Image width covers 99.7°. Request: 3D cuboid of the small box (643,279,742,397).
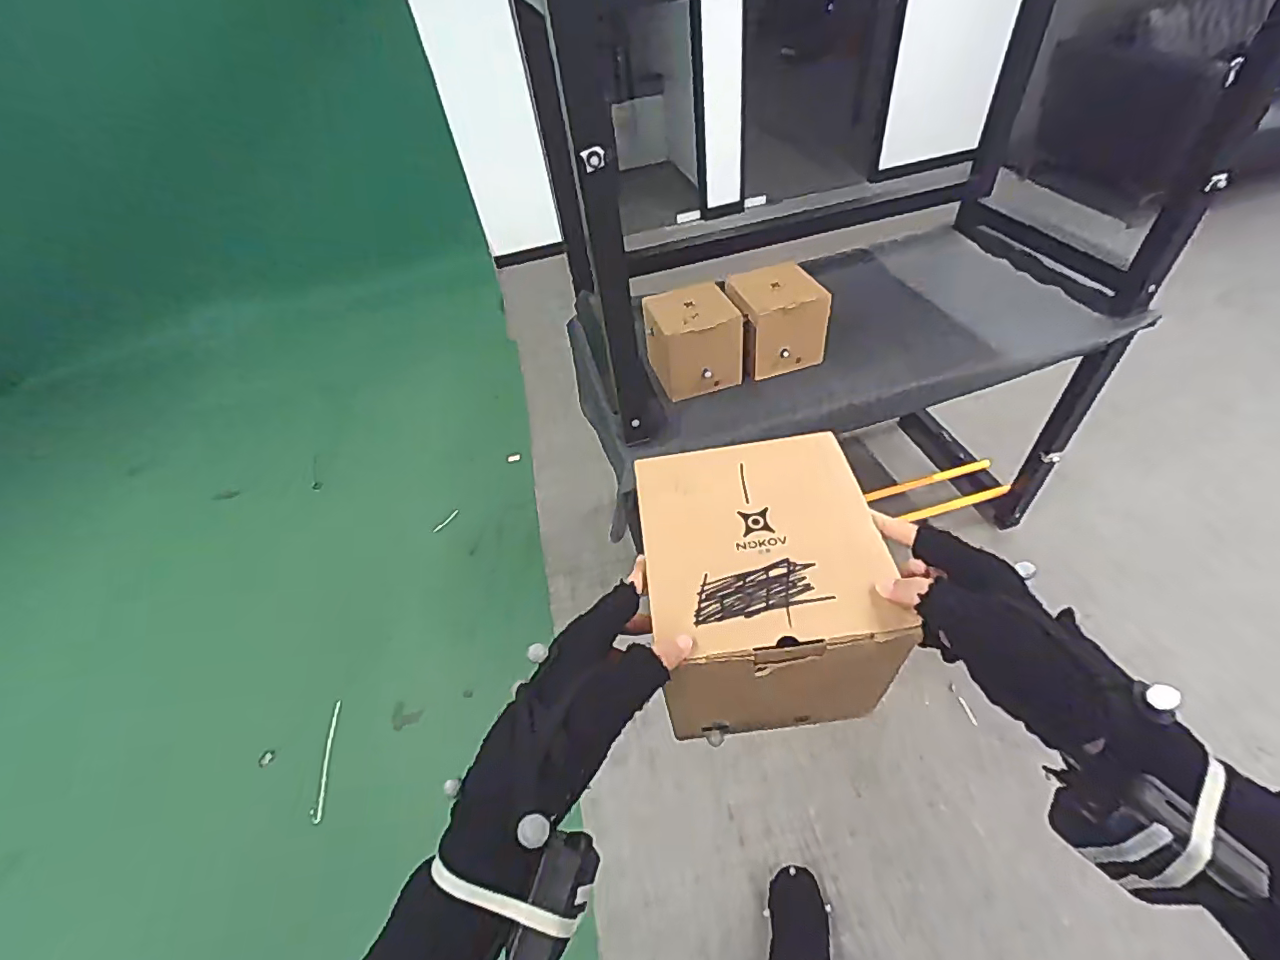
[{"bbox_3d":[0.112,-0.309,1.184,0.168,0.176,0.179,-17,46,-6],"label":"small box"}]
